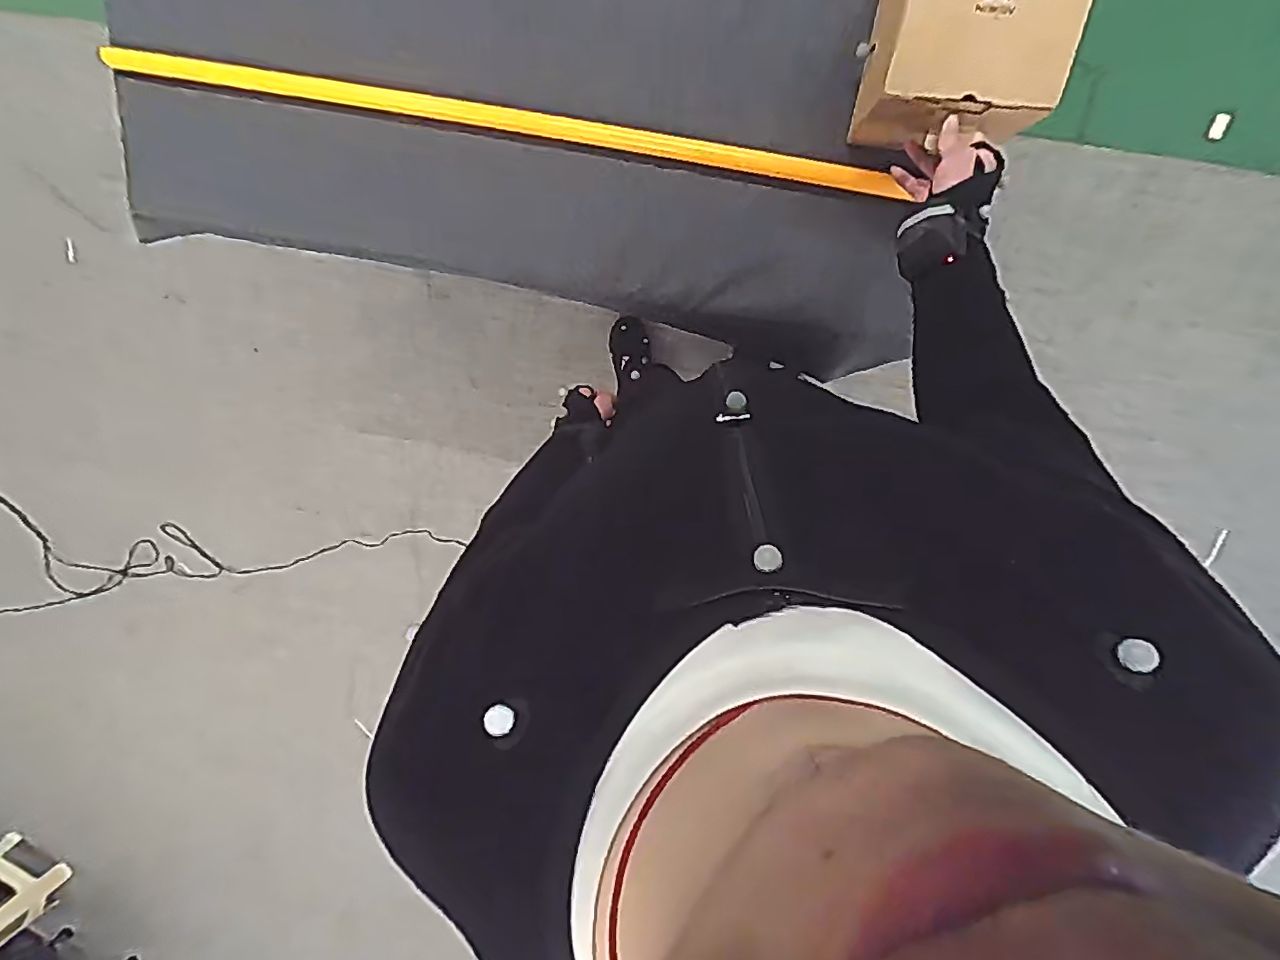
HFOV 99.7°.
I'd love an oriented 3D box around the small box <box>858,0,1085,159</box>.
[{"bbox_3d":[0.350,-0.470,0.595,0.168,0.176,0.179,7,108,9],"label":"small box"}]
